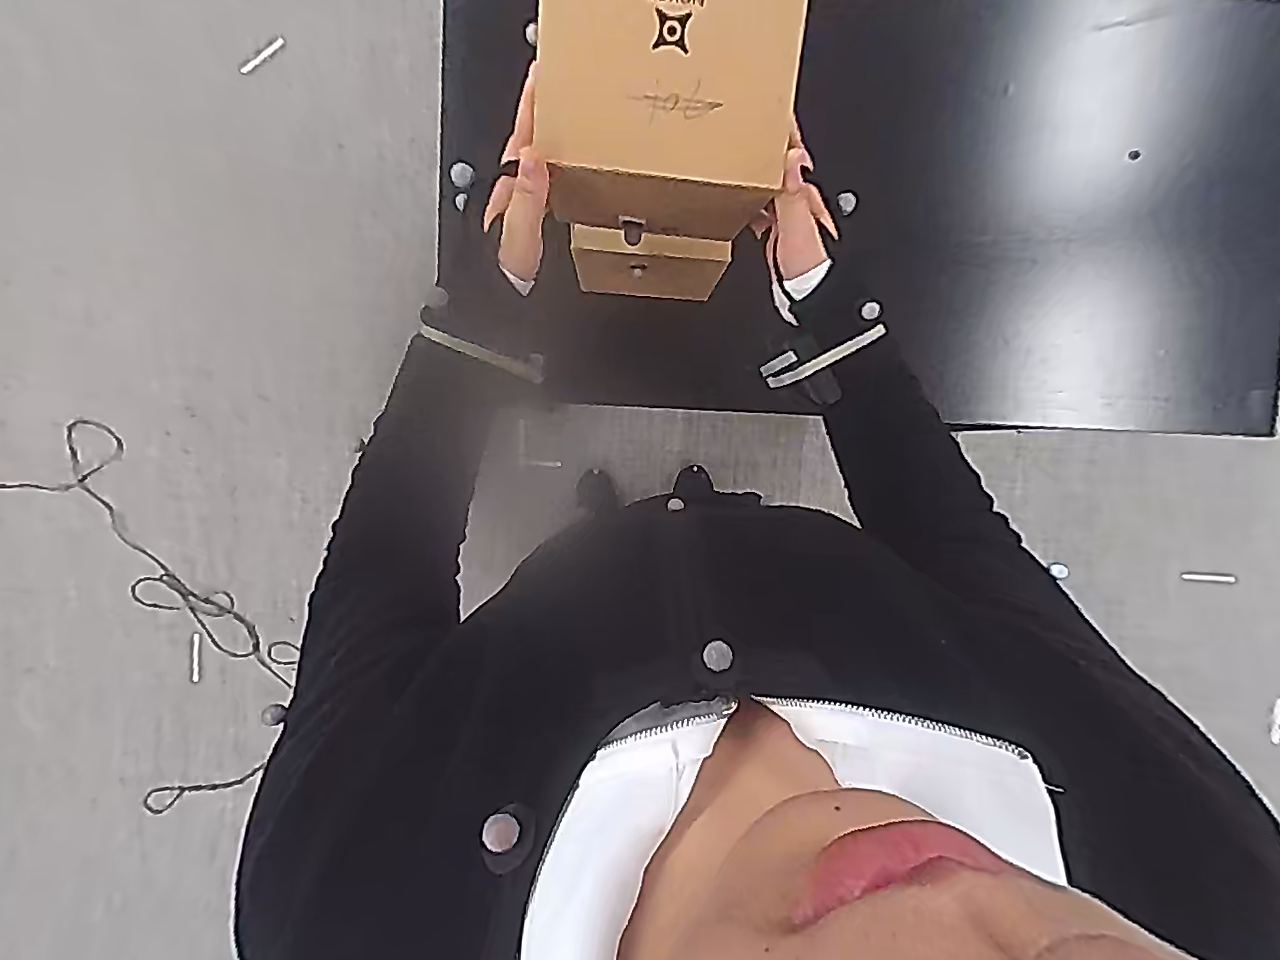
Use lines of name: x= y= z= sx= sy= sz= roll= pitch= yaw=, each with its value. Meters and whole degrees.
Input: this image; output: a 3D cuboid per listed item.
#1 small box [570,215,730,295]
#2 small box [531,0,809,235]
small box: x=0.014 y=-0.336 z=0.665 sx=0.179 sy=0.176 sz=0.168 roll=4 pitch=94 yaw=-3
small box: x=0.016 y=-0.302 z=0.405 sx=0.168 sy=0.176 sz=0.179 roll=5 pitch=103 yaw=-3
